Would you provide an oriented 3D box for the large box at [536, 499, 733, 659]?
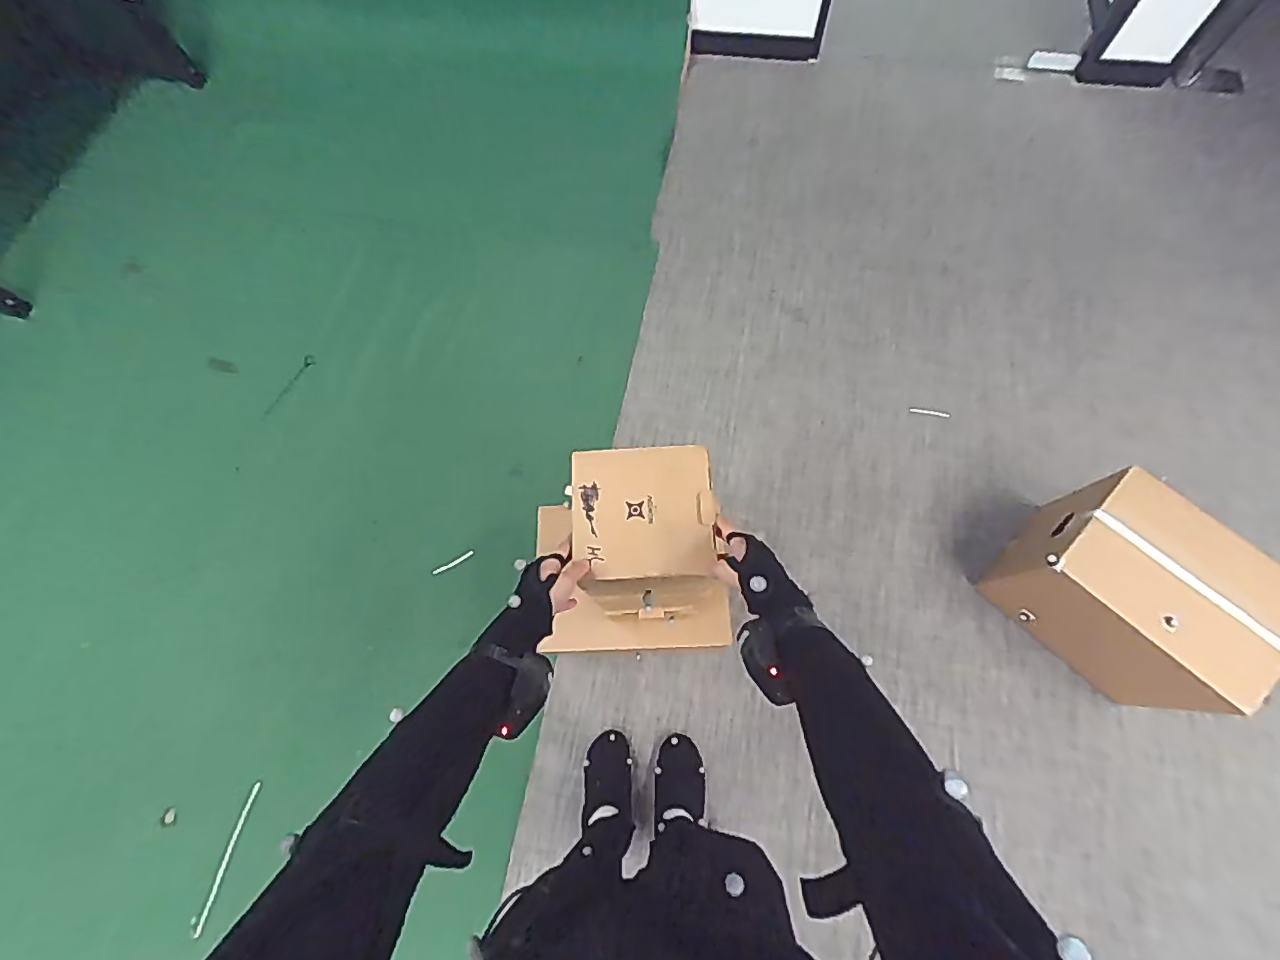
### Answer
[{"bbox_3d":[-0.008,0.248,1.275,0.408,0.320,0.320,-4,69,3],"label":"large box"}]

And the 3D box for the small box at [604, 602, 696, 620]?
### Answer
[{"bbox_3d":[0.022,0.175,1.040,0.168,0.176,0.179,-2,70,2],"label":"small box"}]

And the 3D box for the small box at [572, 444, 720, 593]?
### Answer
[{"bbox_3d":[0.006,0.059,0.732,0.179,0.176,0.168,-2,70,1],"label":"small box"}]

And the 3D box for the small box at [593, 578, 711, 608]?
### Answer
[{"bbox_3d":[0.017,0.117,0.887,0.179,0.176,0.168,-4,71,2],"label":"small box"}]
